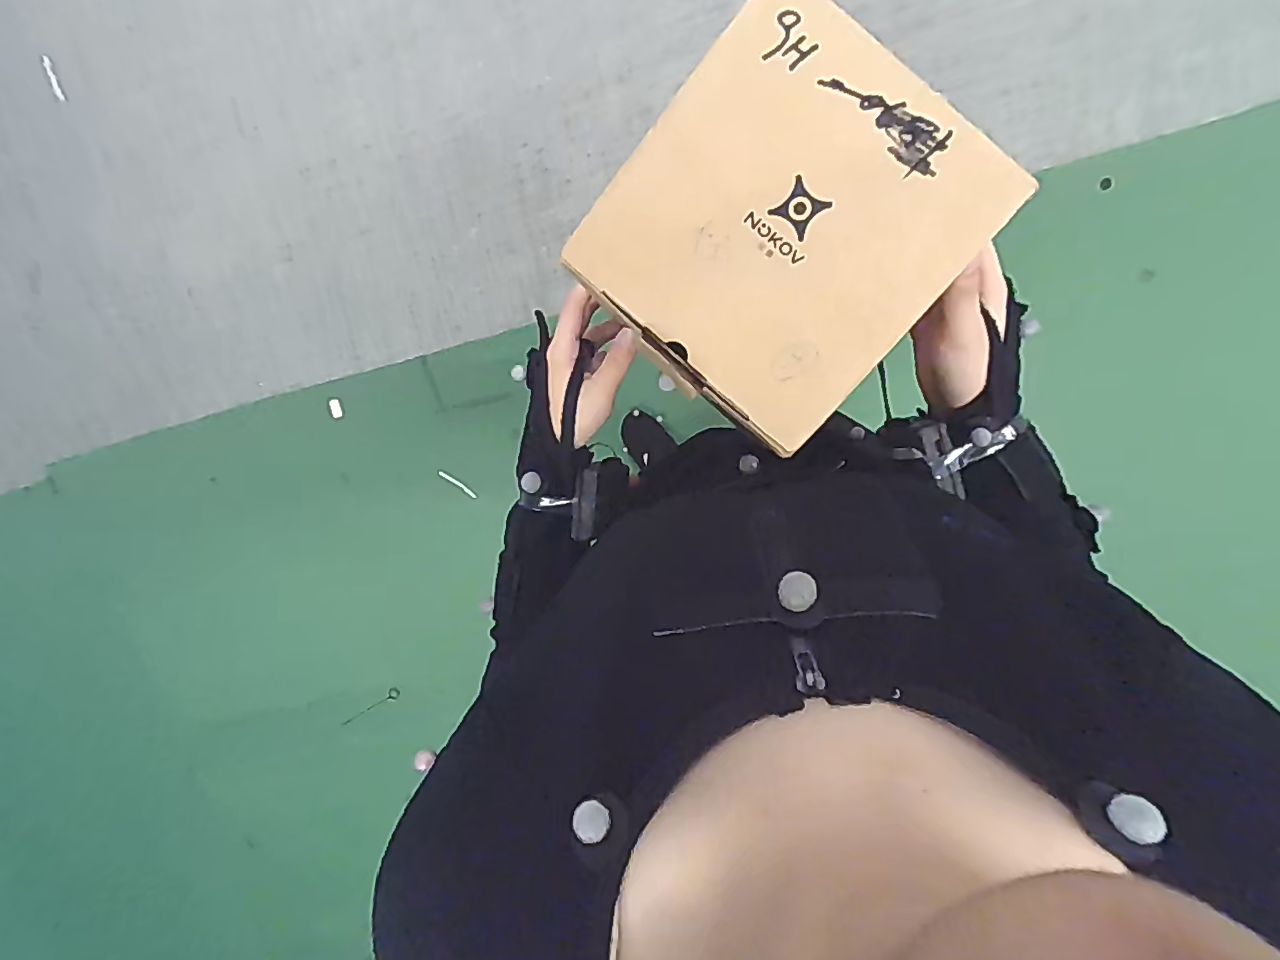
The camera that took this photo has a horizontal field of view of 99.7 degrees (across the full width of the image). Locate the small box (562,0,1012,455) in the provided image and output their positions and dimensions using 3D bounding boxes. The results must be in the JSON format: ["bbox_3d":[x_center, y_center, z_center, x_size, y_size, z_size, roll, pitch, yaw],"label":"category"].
[{"bbox_3d":[0.081,-0.138,0.361,0.168,0.176,0.179,41,100,0],"label":"small box"}]
